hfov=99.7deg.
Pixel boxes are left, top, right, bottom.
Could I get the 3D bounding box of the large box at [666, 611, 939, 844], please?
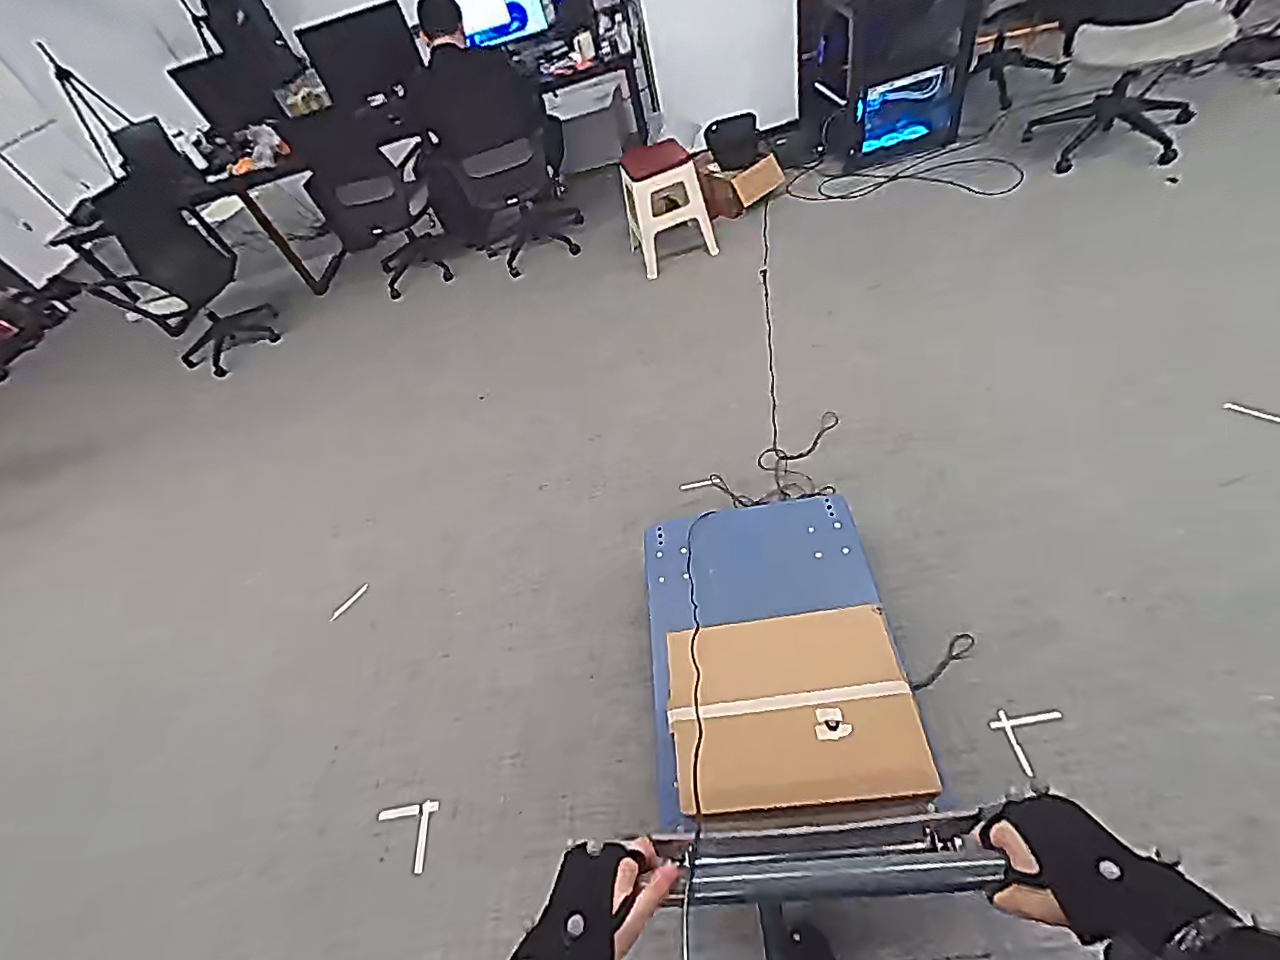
[{"bbox_3d":[0.283,0.488,1.046,0.408,0.320,0.320,-10,51,8],"label":"large box"}]
